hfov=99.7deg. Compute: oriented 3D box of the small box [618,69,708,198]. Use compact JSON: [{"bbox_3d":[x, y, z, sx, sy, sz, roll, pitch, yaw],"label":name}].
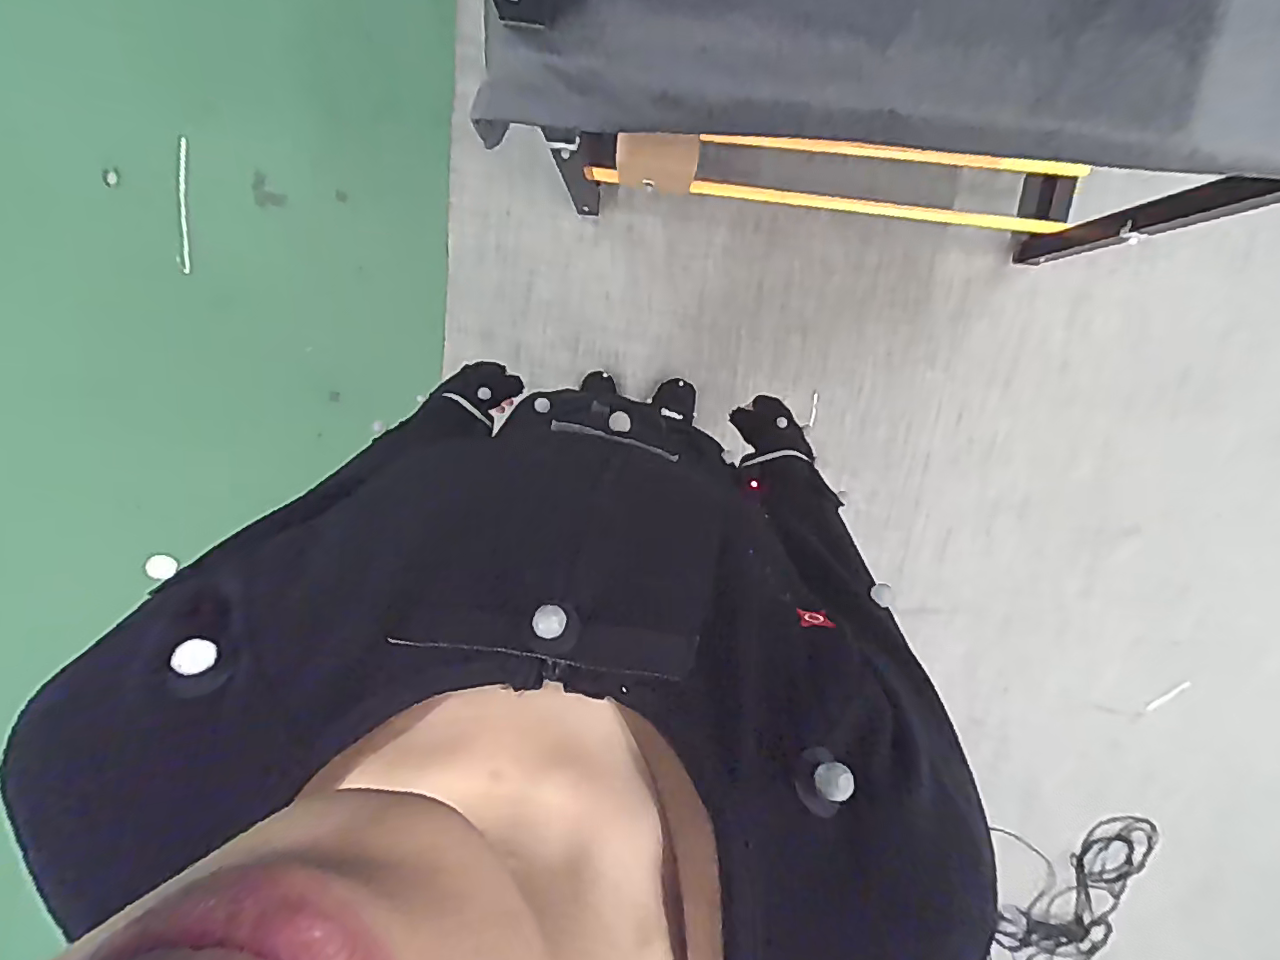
[{"bbox_3d":[0.042,-0.727,1.151,0.168,0.176,0.179,5,103,-2],"label":"small box"}]
